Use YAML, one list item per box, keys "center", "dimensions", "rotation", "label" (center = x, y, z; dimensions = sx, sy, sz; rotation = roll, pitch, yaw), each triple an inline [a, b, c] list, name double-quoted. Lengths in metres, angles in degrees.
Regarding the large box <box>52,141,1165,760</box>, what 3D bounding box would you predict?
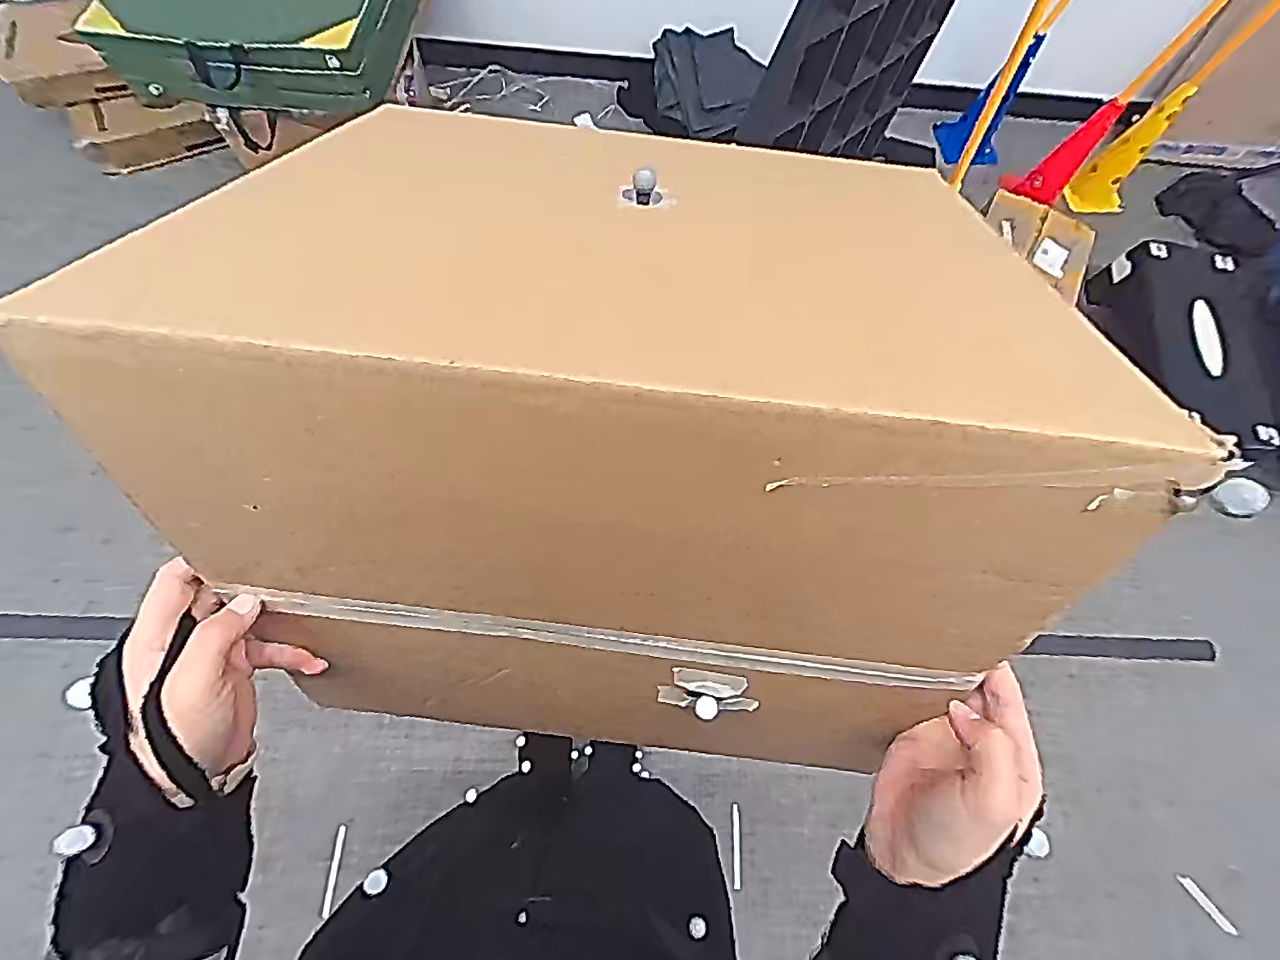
- center: [-0.015, -0.027, 0.398]
  dimensions: [0.408, 0.320, 0.320]
  rotation: [6, 46, 0]
  label: "large box"
